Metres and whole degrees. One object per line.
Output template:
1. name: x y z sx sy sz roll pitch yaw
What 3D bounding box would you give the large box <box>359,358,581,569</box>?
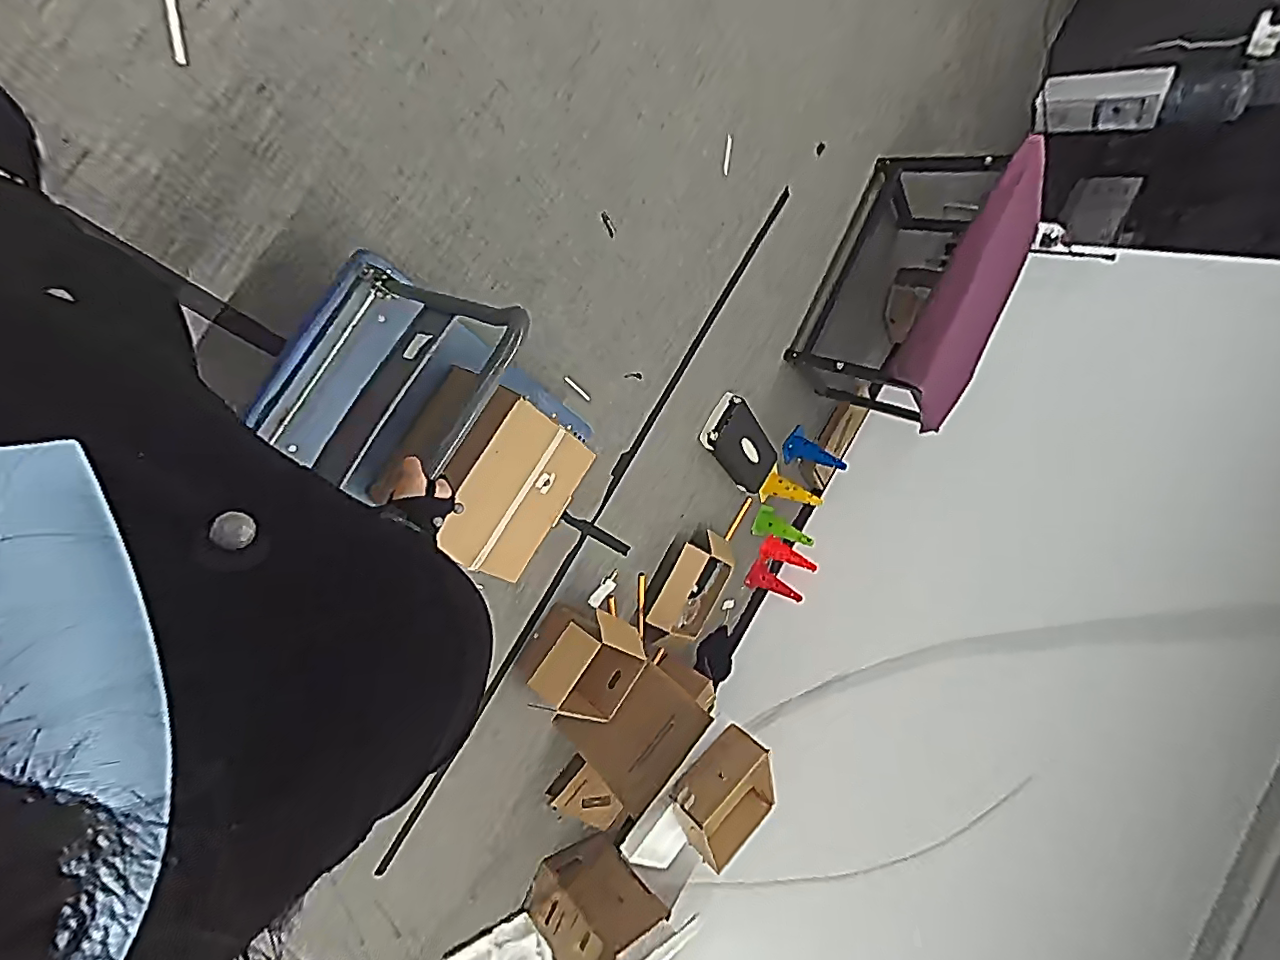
1. large box: -0.436 -0.043 1.405 0.408 0.320 0.320 -59 143 -7
